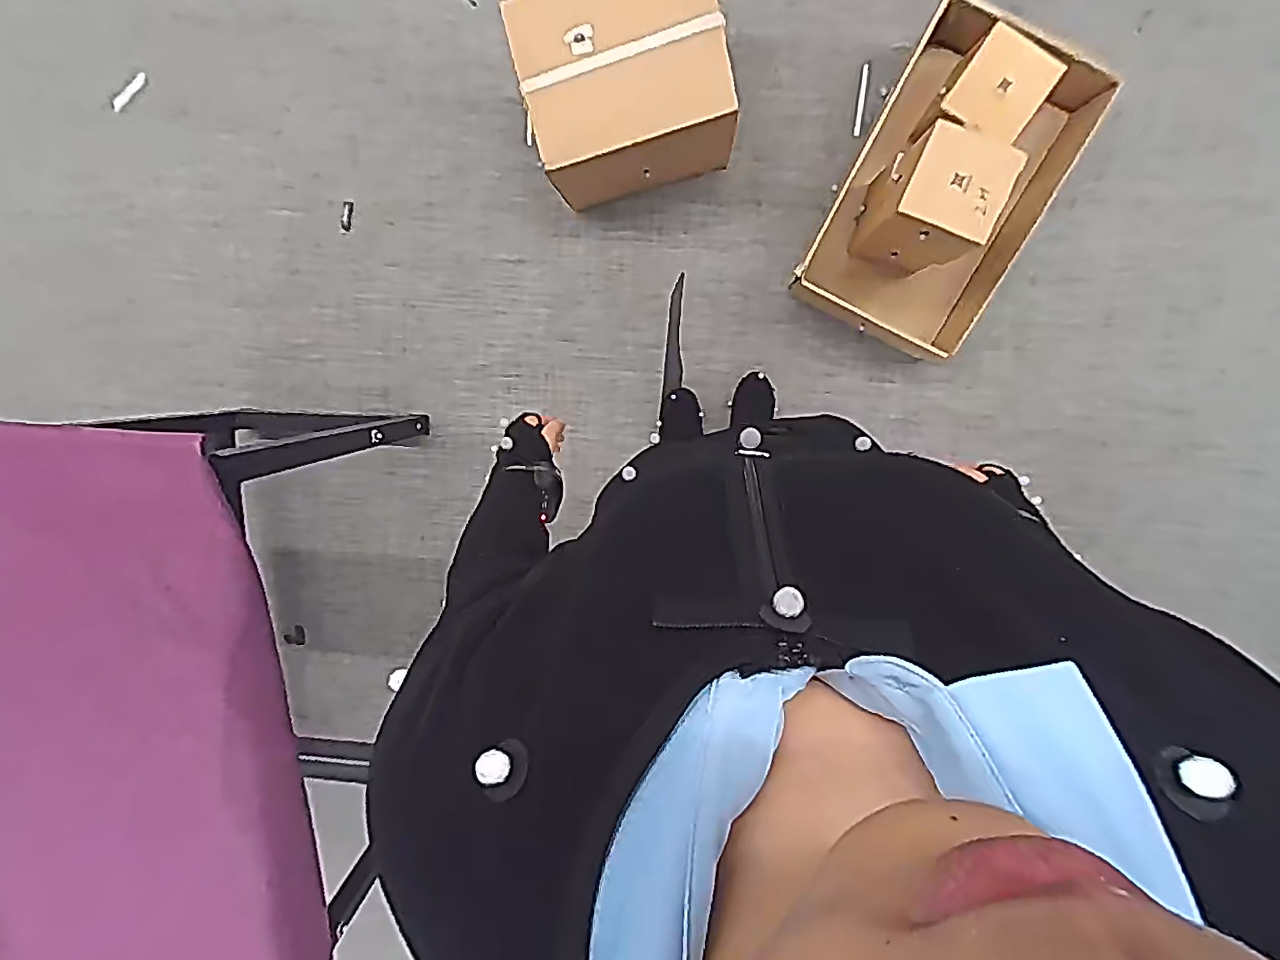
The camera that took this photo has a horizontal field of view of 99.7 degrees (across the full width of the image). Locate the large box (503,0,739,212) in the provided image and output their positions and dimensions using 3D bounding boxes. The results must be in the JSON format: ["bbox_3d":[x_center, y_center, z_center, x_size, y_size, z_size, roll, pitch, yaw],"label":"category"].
[{"bbox_3d":[-0.021,-0.840,1.184,0.408,0.320,0.320,-14,100,9],"label":"large box"}]

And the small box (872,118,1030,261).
[{"bbox_3d":[0.581,-0.543,1.039,0.179,0.176,0.168,23,101,0],"label":"small box"}]
